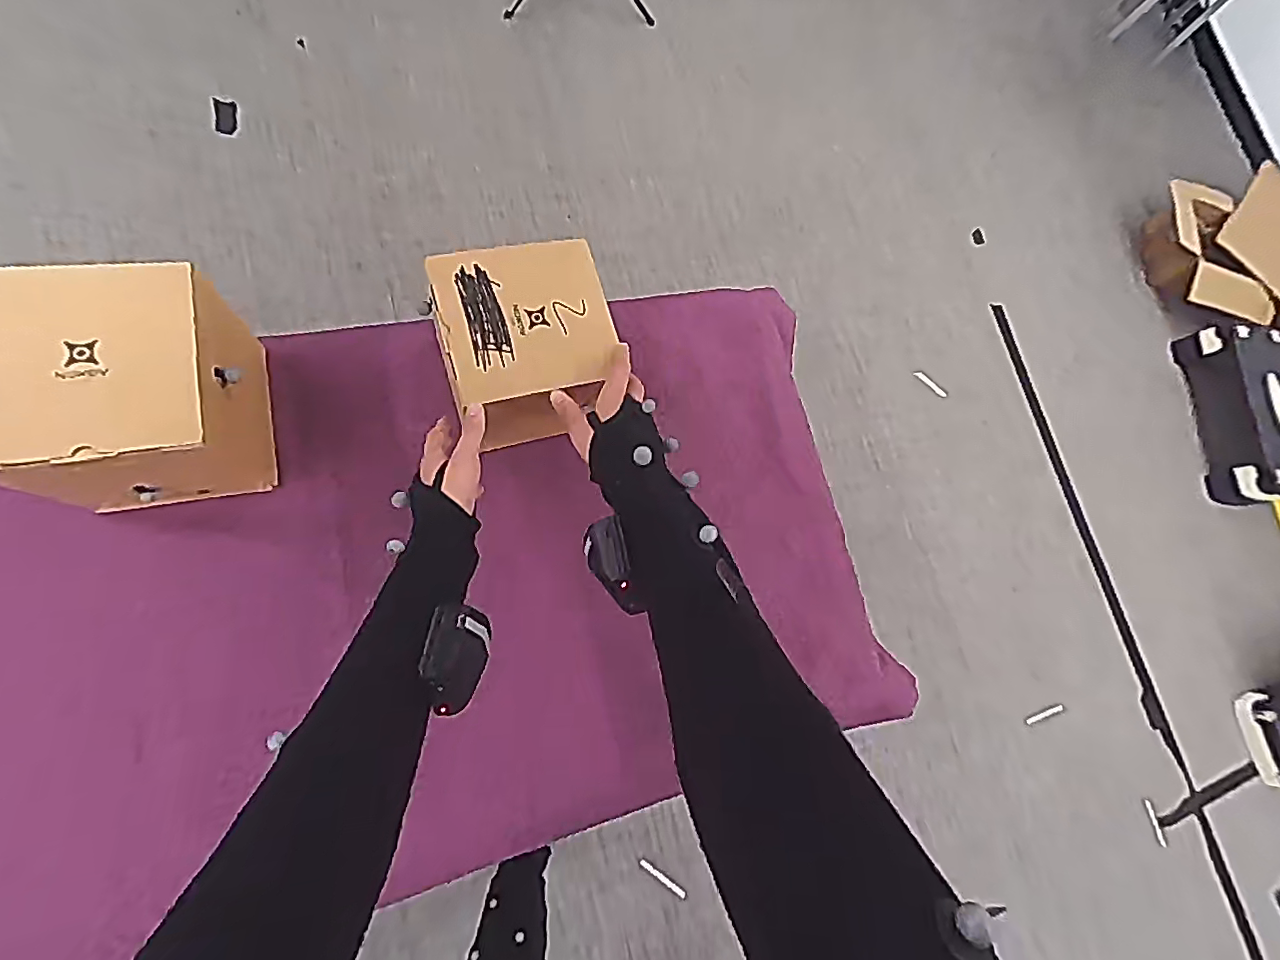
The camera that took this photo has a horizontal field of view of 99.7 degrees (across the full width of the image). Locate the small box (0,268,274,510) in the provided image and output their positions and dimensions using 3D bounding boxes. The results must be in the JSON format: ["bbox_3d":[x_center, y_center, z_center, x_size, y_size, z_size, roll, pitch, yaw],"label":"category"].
[{"bbox_3d":[-0.484,-0.080,0.525,0.168,0.176,0.179,-9,80,-17],"label":"small box"}]
